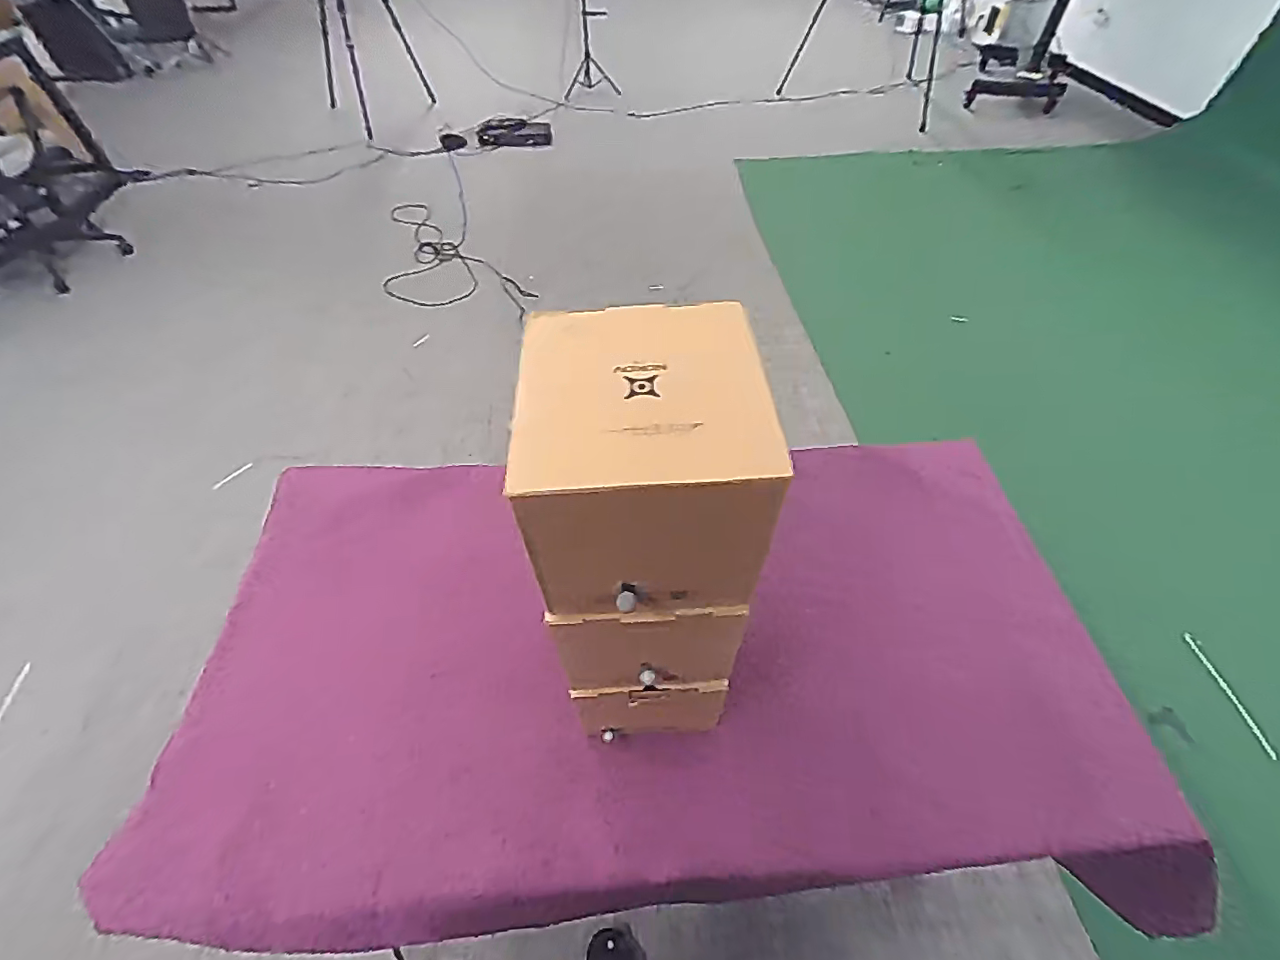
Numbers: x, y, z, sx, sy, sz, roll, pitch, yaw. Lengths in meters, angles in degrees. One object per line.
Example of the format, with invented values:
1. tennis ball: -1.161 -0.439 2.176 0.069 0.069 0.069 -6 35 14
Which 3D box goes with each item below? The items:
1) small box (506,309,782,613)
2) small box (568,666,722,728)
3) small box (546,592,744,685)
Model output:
1. small box: 0.000 -0.013 0.430 0.168 0.176 0.179 -3 51 -1
2. small box: 0.005 0.202 0.678 0.168 0.176 0.179 -2 51 -1
3. small box: 0.002 0.093 0.555 0.168 0.176 0.179 -3 52 -1
